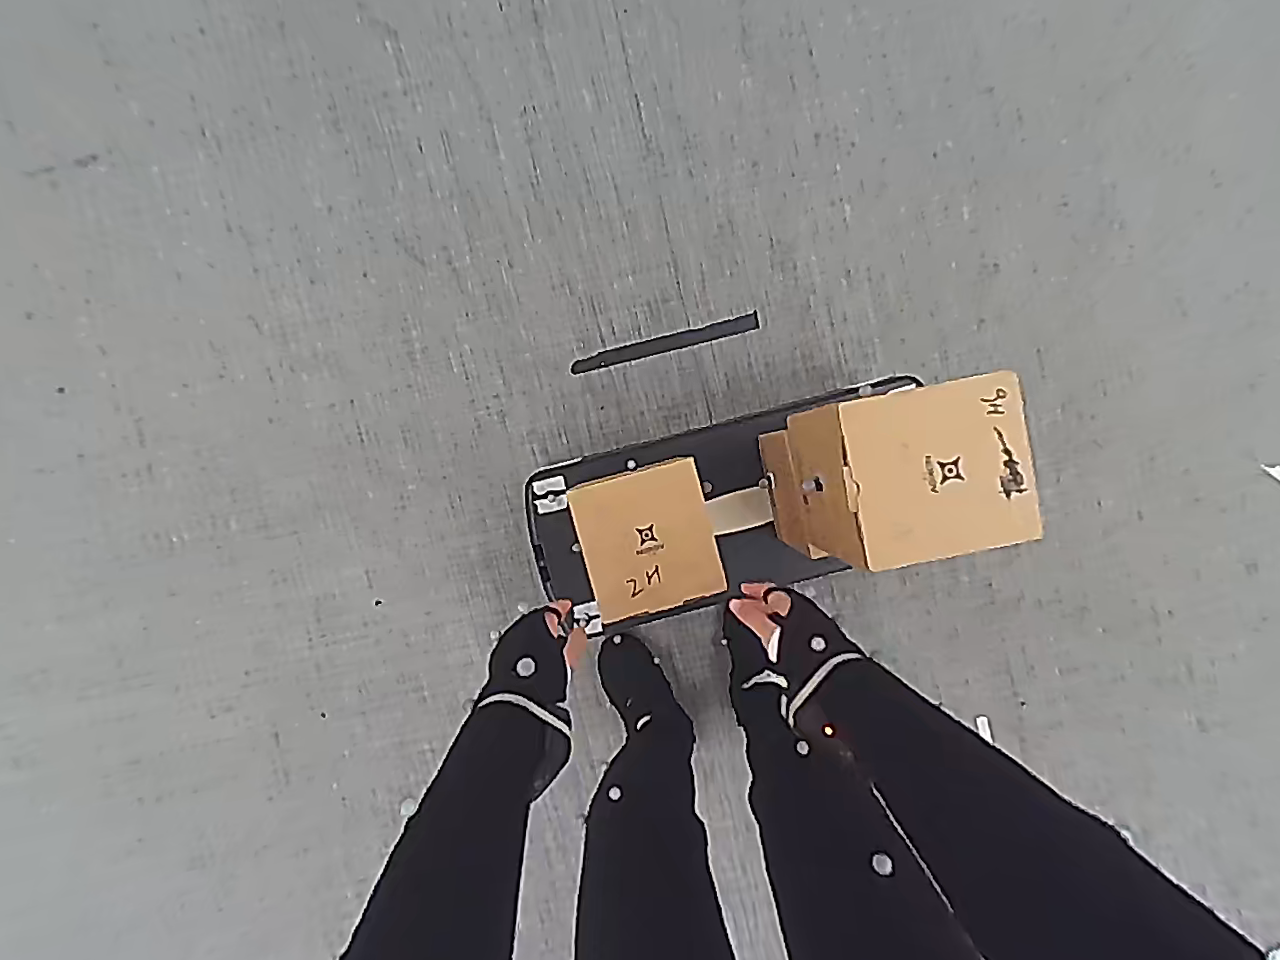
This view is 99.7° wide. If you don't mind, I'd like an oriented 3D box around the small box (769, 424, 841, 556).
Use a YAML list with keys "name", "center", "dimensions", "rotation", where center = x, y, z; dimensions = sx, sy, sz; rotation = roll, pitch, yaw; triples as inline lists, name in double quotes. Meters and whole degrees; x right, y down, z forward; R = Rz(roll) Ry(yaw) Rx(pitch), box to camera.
- name: "small box"
  center: [0.278, -0.006, 0.751]
  dimensions: [0.179, 0.176, 0.168]
  rotation: [-12, 93, 0]

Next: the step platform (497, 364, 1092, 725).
- name: "step platform"
  center: [0.179, 0.075, 0.716]
  dimensions: [0.684, 0.204, 0.286]
  rotation: [-15, 93, -1]

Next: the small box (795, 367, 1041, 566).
- name: "small box"
  center: [0.279, -0.015, 0.587]
  dimensions: [0.179, 0.176, 0.168]
  rotation: [-11, 93, 0]

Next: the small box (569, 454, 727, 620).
- name: "small box"
  center: [0.007, 0.069, 0.747]
  dimensions: [0.168, 0.176, 0.179]
  rotation: [-15, 93, 0]
